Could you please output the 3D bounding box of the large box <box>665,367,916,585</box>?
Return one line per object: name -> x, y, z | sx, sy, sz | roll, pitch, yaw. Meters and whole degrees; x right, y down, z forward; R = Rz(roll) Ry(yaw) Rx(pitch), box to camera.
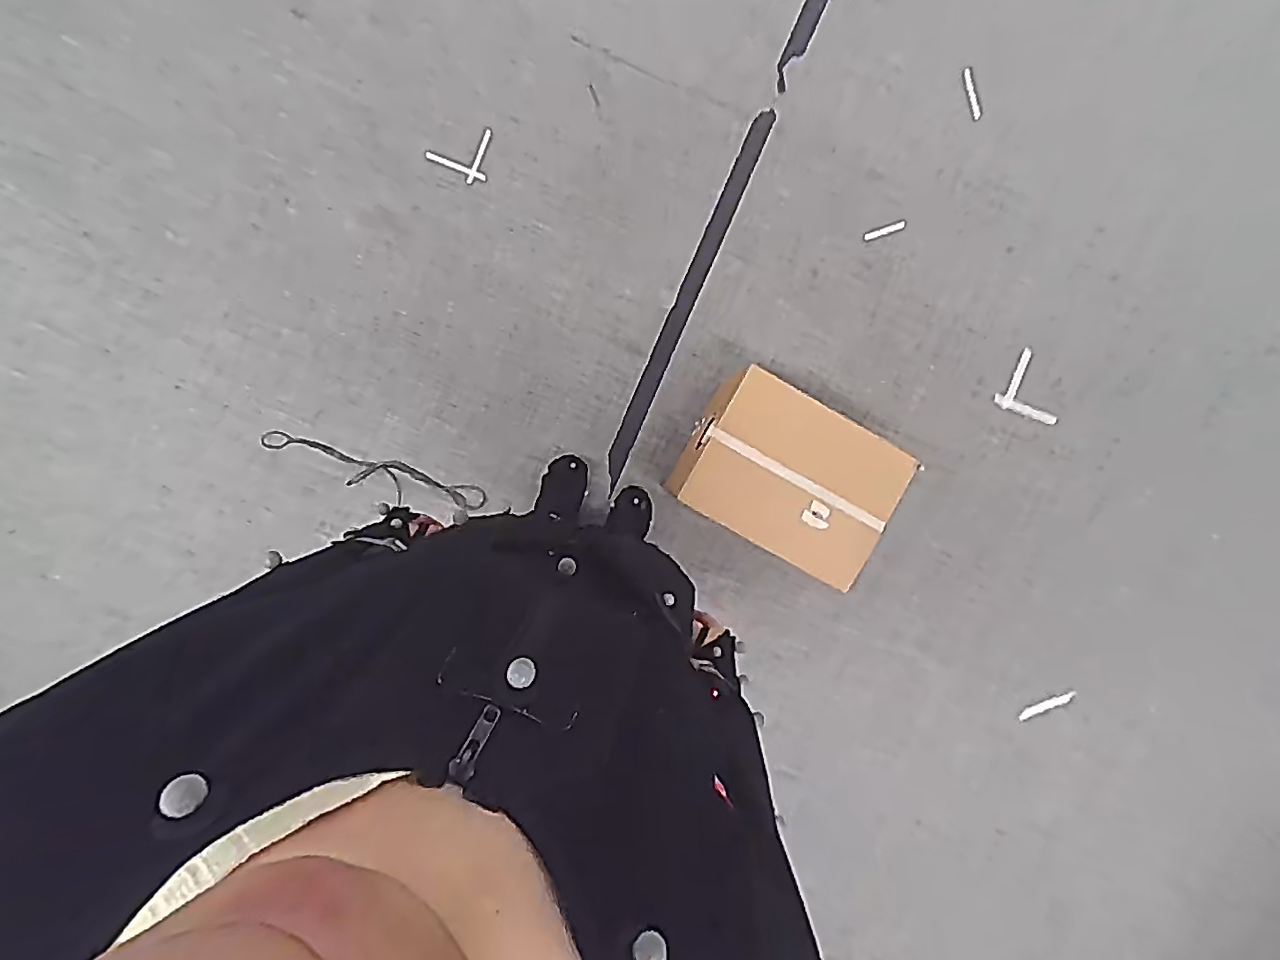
large box -> 0.313, -0.013, 1.241 | 0.408, 0.320, 0.320 | 29, 92, -4
